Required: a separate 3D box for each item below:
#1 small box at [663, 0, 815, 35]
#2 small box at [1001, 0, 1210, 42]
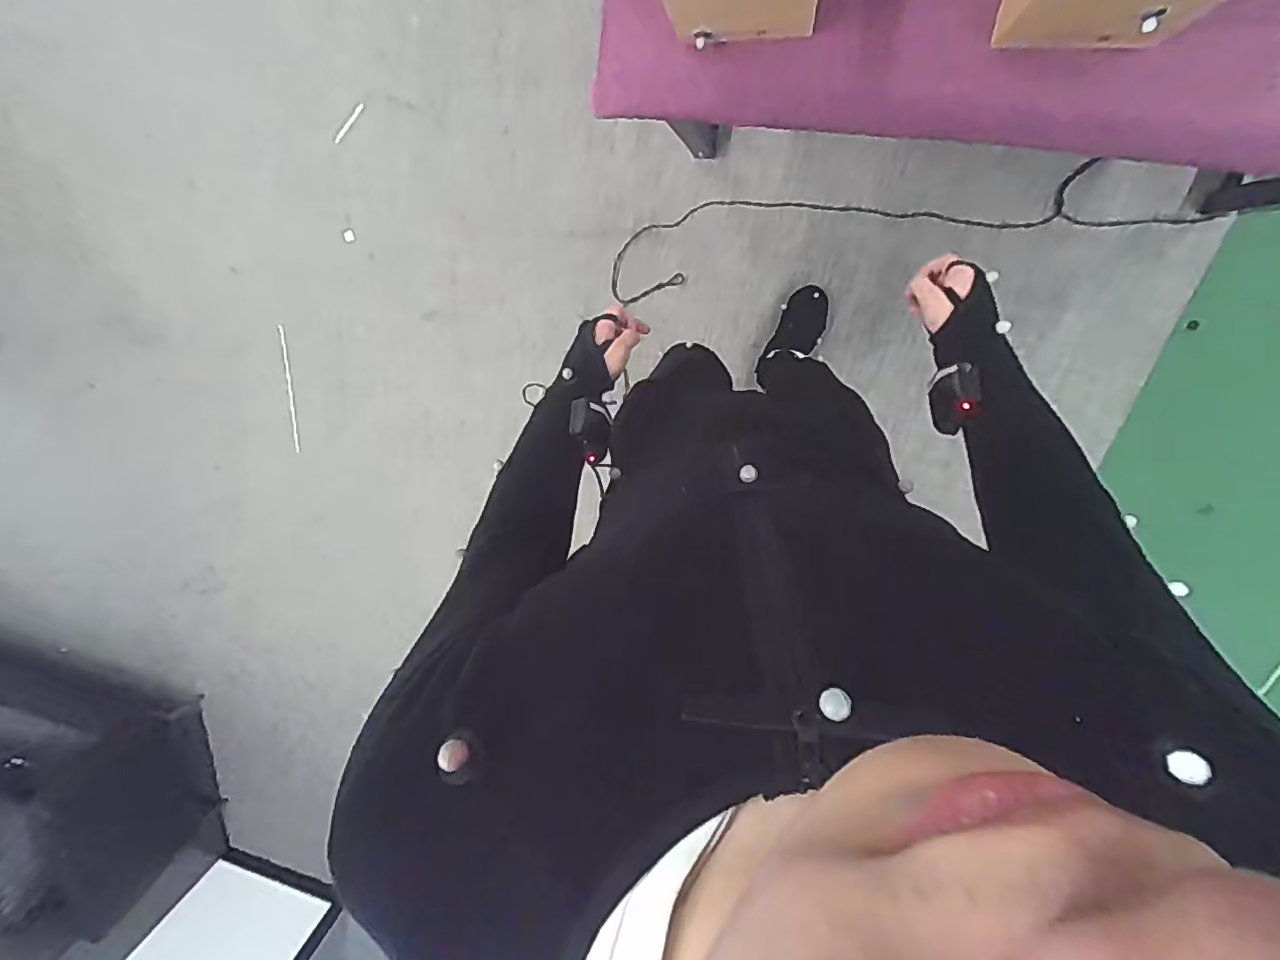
[{"bbox_3d":[0.110,-0.599,0.565,0.168,0.176,0.179,7,111,12],"label":"small box"},{"bbox_3d":[0.467,-0.536,0.497,0.168,0.176,0.179,9,112,11],"label":"small box"}]
